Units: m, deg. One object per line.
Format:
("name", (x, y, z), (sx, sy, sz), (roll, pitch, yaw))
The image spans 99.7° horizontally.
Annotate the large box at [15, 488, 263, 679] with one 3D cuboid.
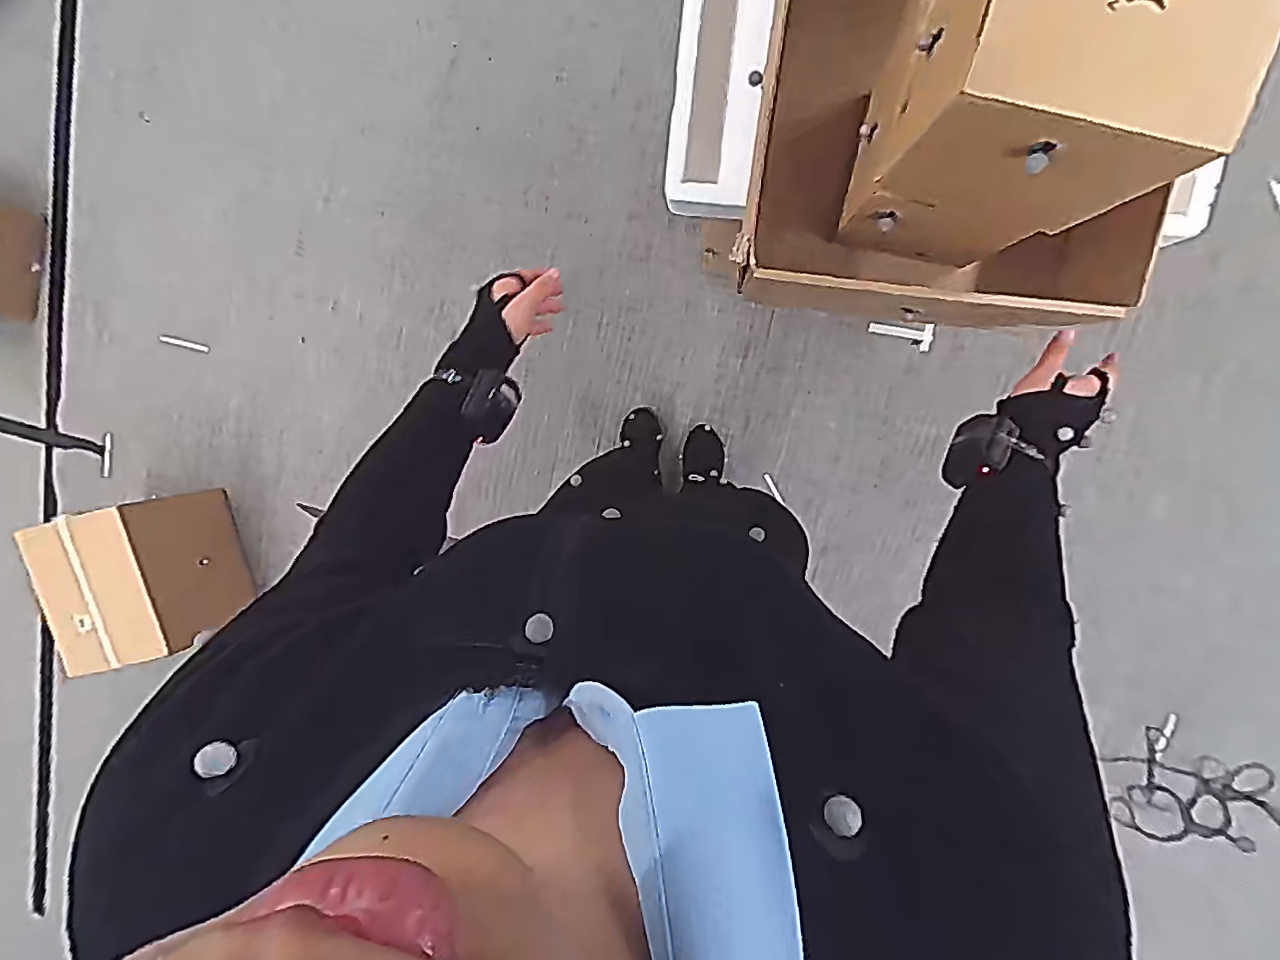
("large box", (-1.360, 0.270, 1.507), (0.320, 0.320, 0.408), (-13, 97, 8))
